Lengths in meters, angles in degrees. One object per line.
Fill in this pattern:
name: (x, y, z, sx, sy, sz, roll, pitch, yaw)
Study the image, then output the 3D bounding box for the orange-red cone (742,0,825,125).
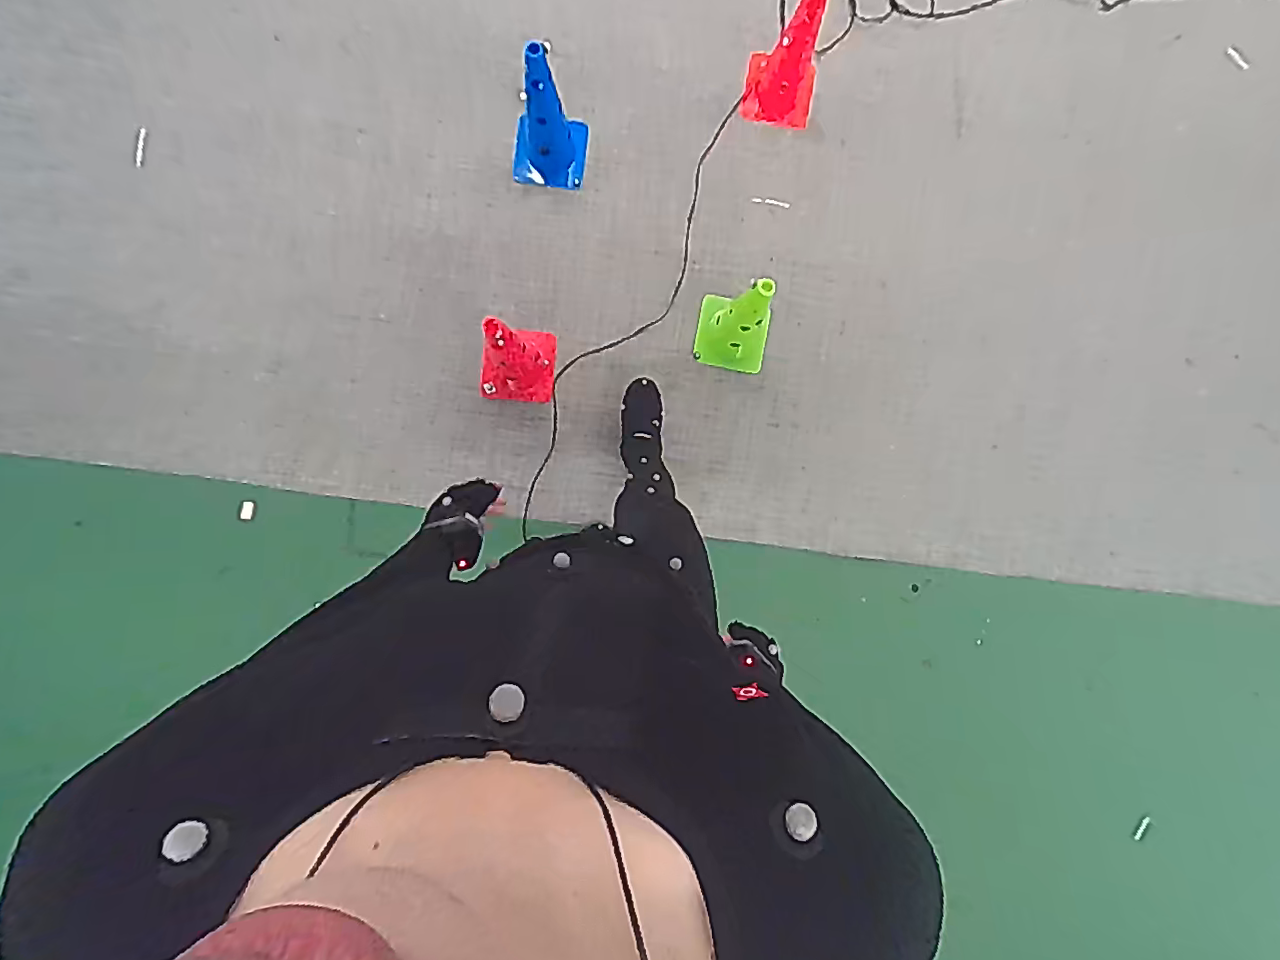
orange-red cone: (0.411, -1.145, 1.401, 0.198, 0.360, 0.199, 12, 89, -1)

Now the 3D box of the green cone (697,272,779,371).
green cone: (0.280, -0.426, 1.368, 0.200, 0.368, 0.202, 9, 87, -3)
